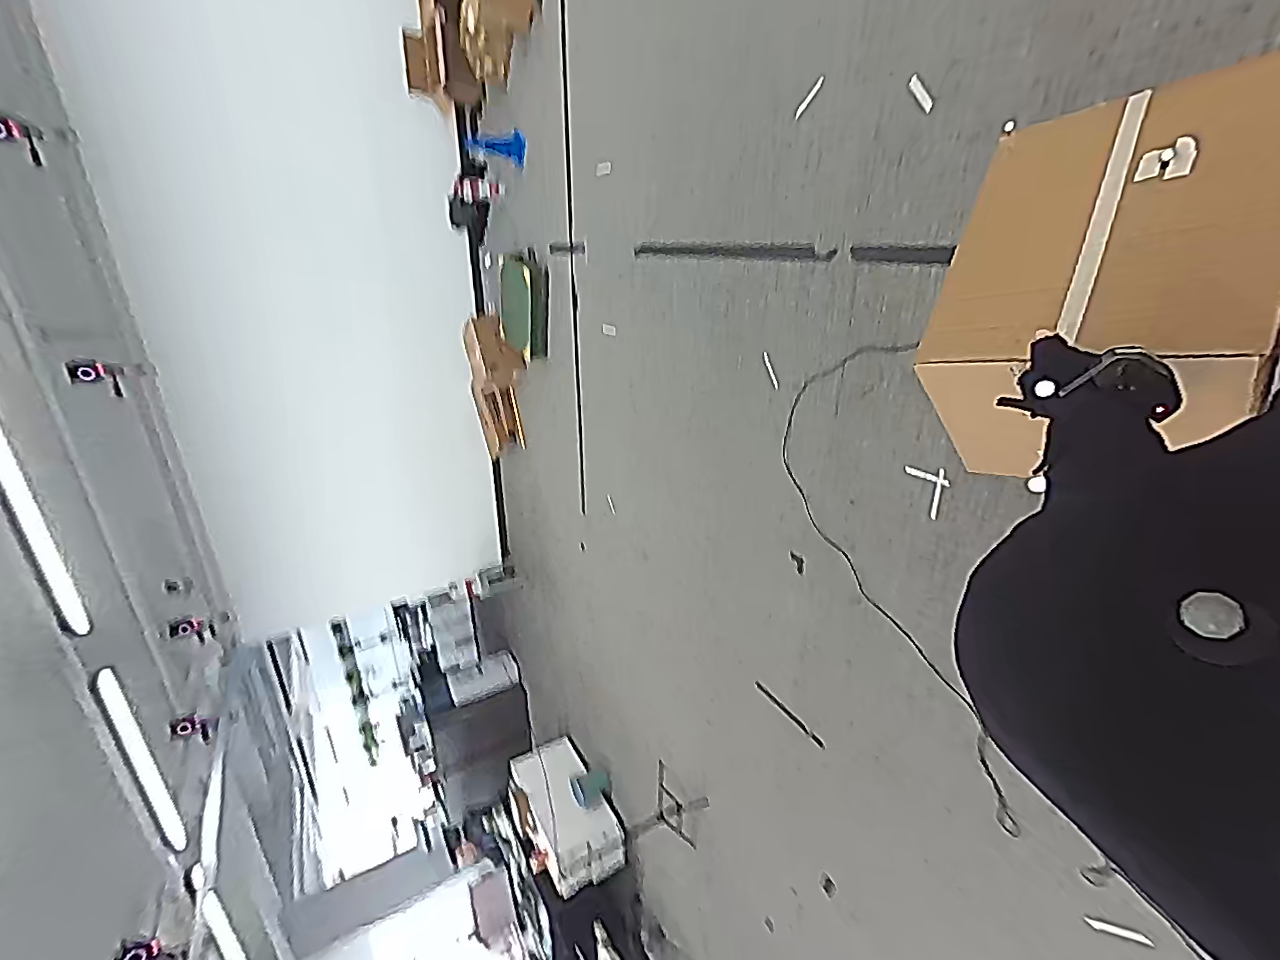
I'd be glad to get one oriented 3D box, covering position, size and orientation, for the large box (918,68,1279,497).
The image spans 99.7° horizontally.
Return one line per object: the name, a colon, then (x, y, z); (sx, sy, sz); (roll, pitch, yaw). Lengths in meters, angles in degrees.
large box: (0.647, -0.229, 0.747); (0.320, 0.320, 0.408); (11, 70, 49)
